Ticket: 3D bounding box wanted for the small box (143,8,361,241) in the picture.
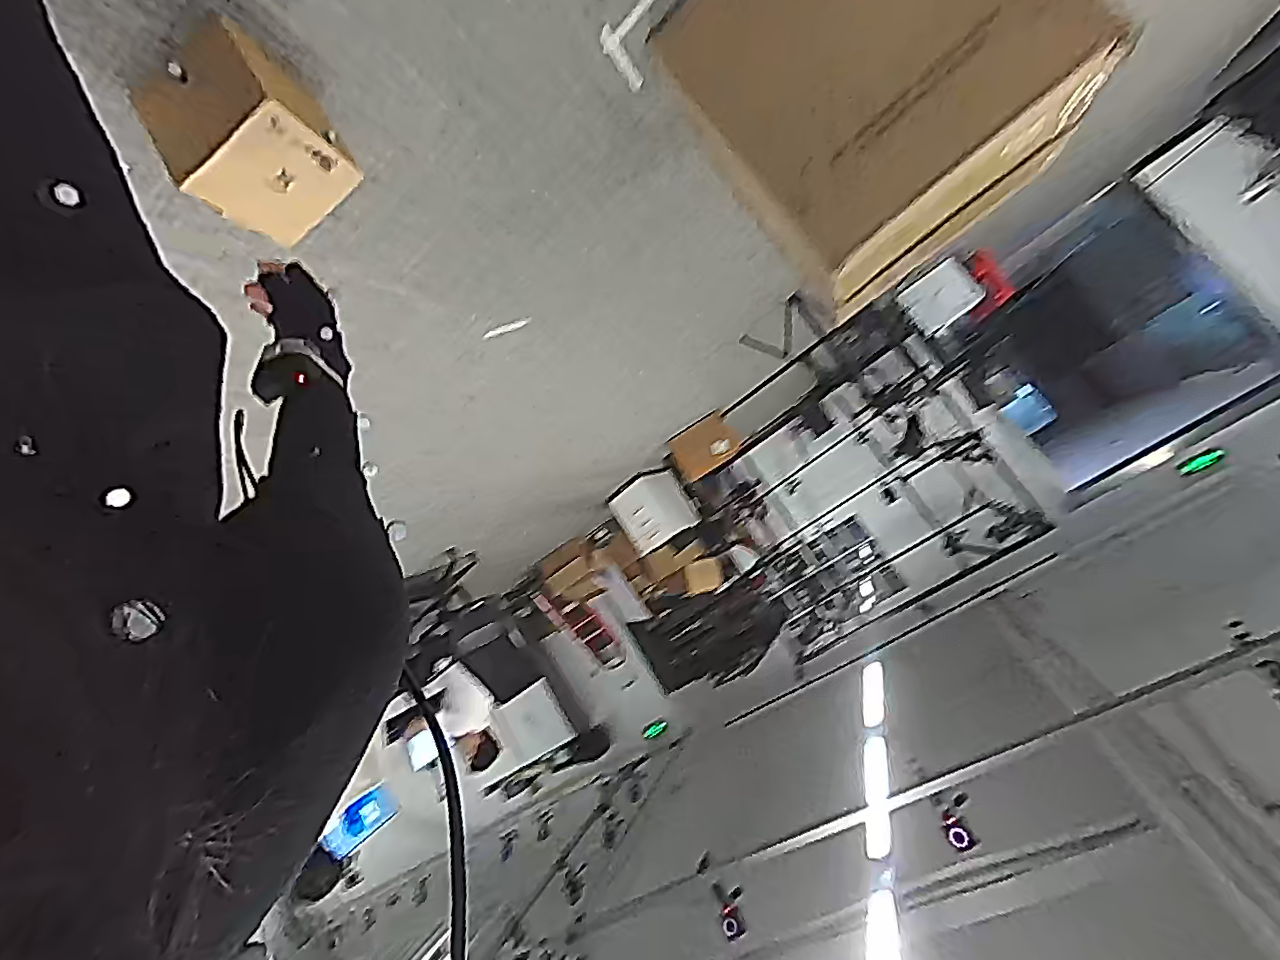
[{"bbox_3d":[-0.548,-0.491,0.766,0.179,0.176,0.168,-34,169,10],"label":"small box"}]
